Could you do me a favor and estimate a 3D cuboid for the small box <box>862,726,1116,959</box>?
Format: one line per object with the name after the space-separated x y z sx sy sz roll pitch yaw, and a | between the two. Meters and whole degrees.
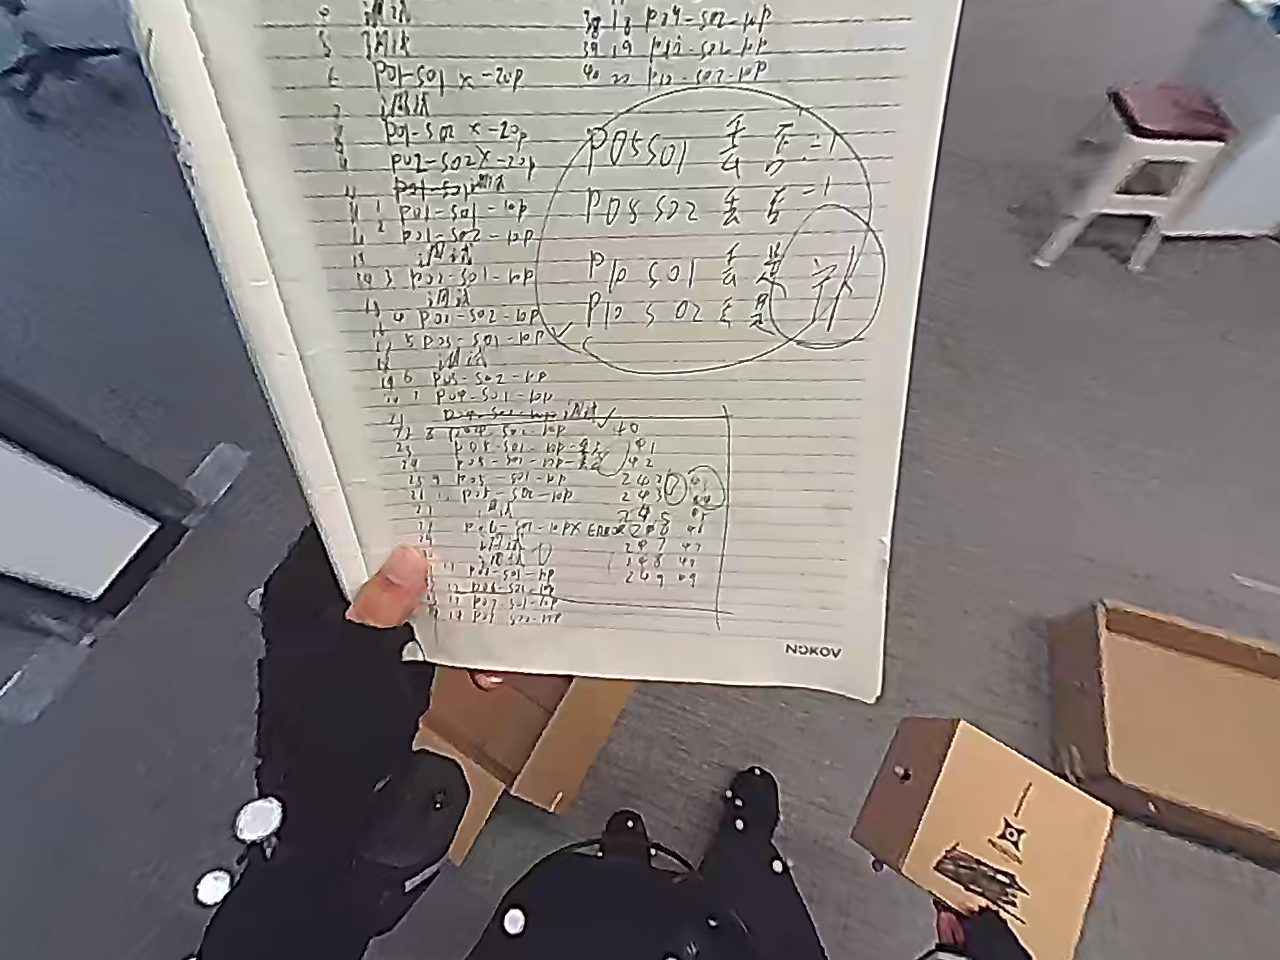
0.383 0.412 0.626 0.168 0.176 0.179 30 71 15 | small box
